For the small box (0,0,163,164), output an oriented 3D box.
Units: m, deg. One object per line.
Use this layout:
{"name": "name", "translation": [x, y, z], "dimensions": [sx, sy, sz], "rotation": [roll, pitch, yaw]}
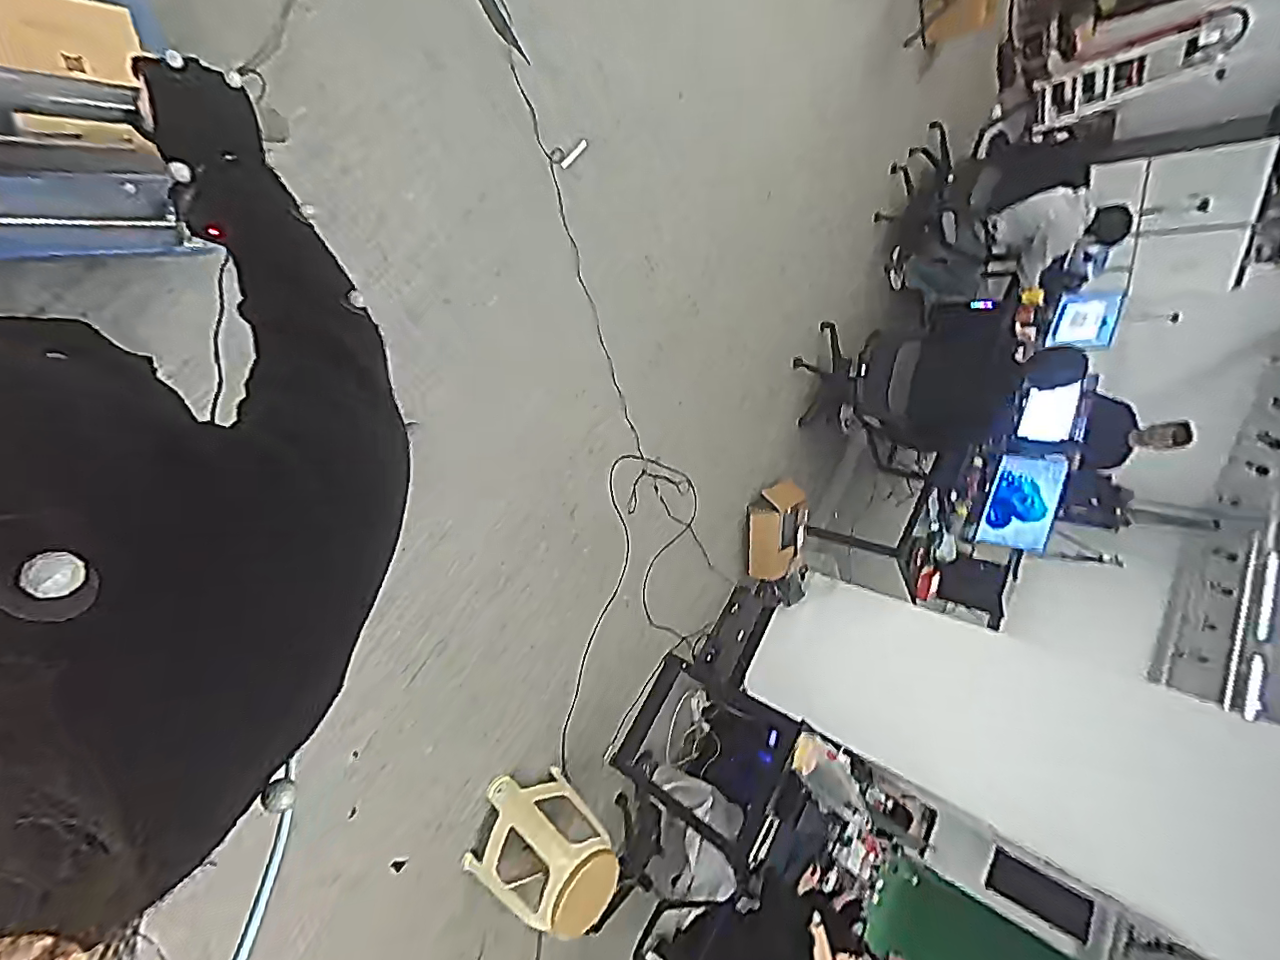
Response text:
{"name": "small box", "translation": [-0.860, -0.594, 0.814], "dimensions": [0.168, 0.176, 0.179], "rotation": [-23, 117, -42]}
